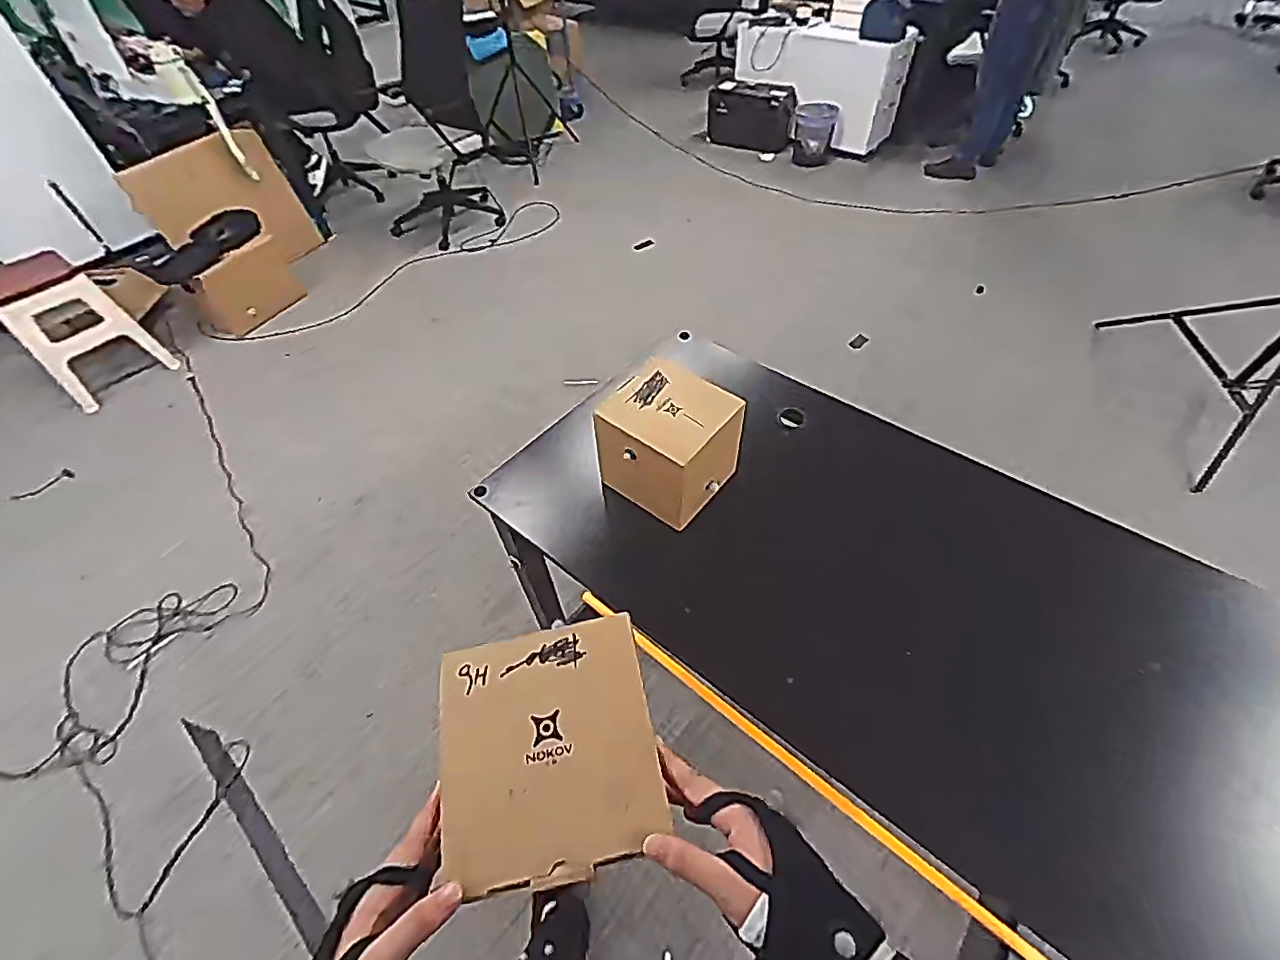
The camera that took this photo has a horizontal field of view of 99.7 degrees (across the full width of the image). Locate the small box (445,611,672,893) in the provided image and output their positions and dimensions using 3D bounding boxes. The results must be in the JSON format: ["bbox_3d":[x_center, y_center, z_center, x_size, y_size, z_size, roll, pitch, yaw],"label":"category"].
[{"bbox_3d":[-0.068,0.245,0.497,0.168,0.176,0.179,-12,57,-4],"label":"small box"}]

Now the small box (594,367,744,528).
[{"bbox_3d":[0.047,-0.051,0.896,0.179,0.176,0.168,32,59,24],"label":"small box"}]
